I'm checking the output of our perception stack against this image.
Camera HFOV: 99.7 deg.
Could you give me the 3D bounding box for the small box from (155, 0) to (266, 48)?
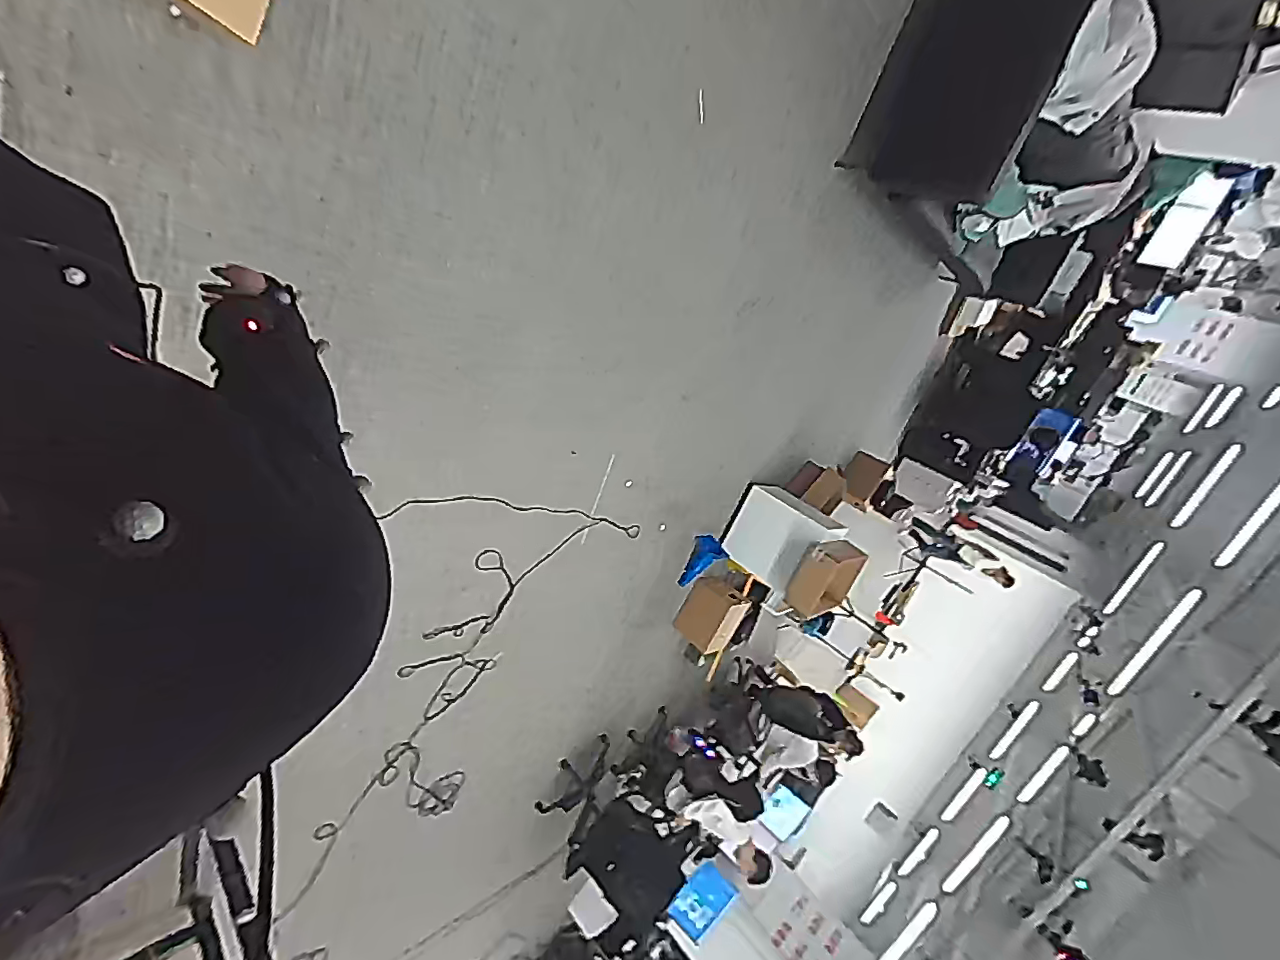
[{"bbox_3d":[-0.724,-0.855,0.879,0.168,0.176,0.179,14,108,-55],"label":"small box"}]
